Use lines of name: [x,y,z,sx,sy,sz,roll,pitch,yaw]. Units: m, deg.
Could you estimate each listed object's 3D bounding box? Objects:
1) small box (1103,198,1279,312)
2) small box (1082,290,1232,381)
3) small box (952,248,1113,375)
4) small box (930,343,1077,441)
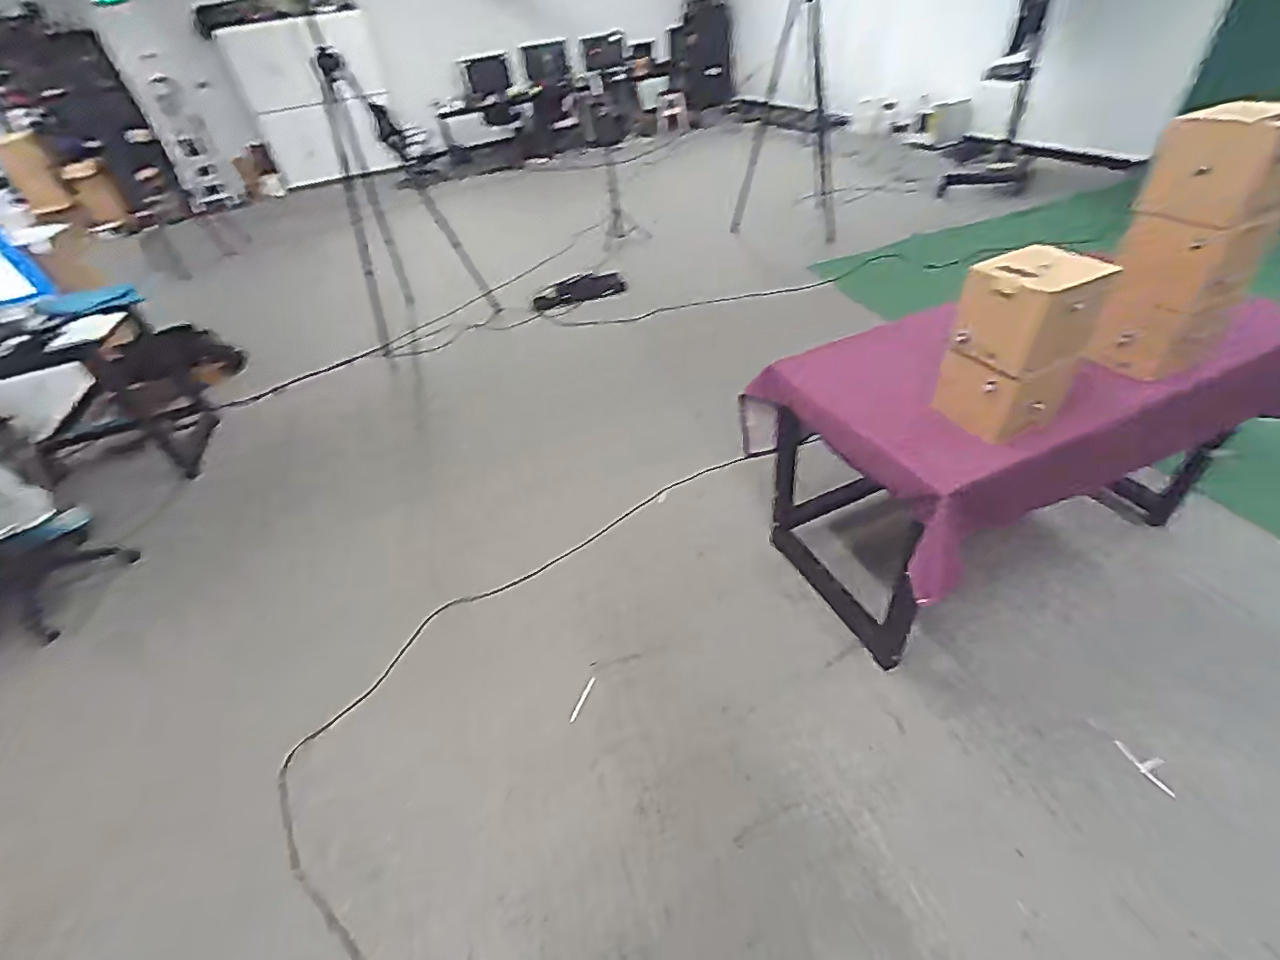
small box: [1.146,-0.477,1.145,0.168,0.176,0.179,-20,42,-13]
small box: [1.173,-0.352,1.247,0.179,0.176,0.168,-22,43,-13]
small box: [0.740,-0.324,1.046,0.179,0.176,0.168,-21,42,-14]
small box: [0.761,-0.202,1.154,0.168,0.176,0.179,-20,41,-13]
